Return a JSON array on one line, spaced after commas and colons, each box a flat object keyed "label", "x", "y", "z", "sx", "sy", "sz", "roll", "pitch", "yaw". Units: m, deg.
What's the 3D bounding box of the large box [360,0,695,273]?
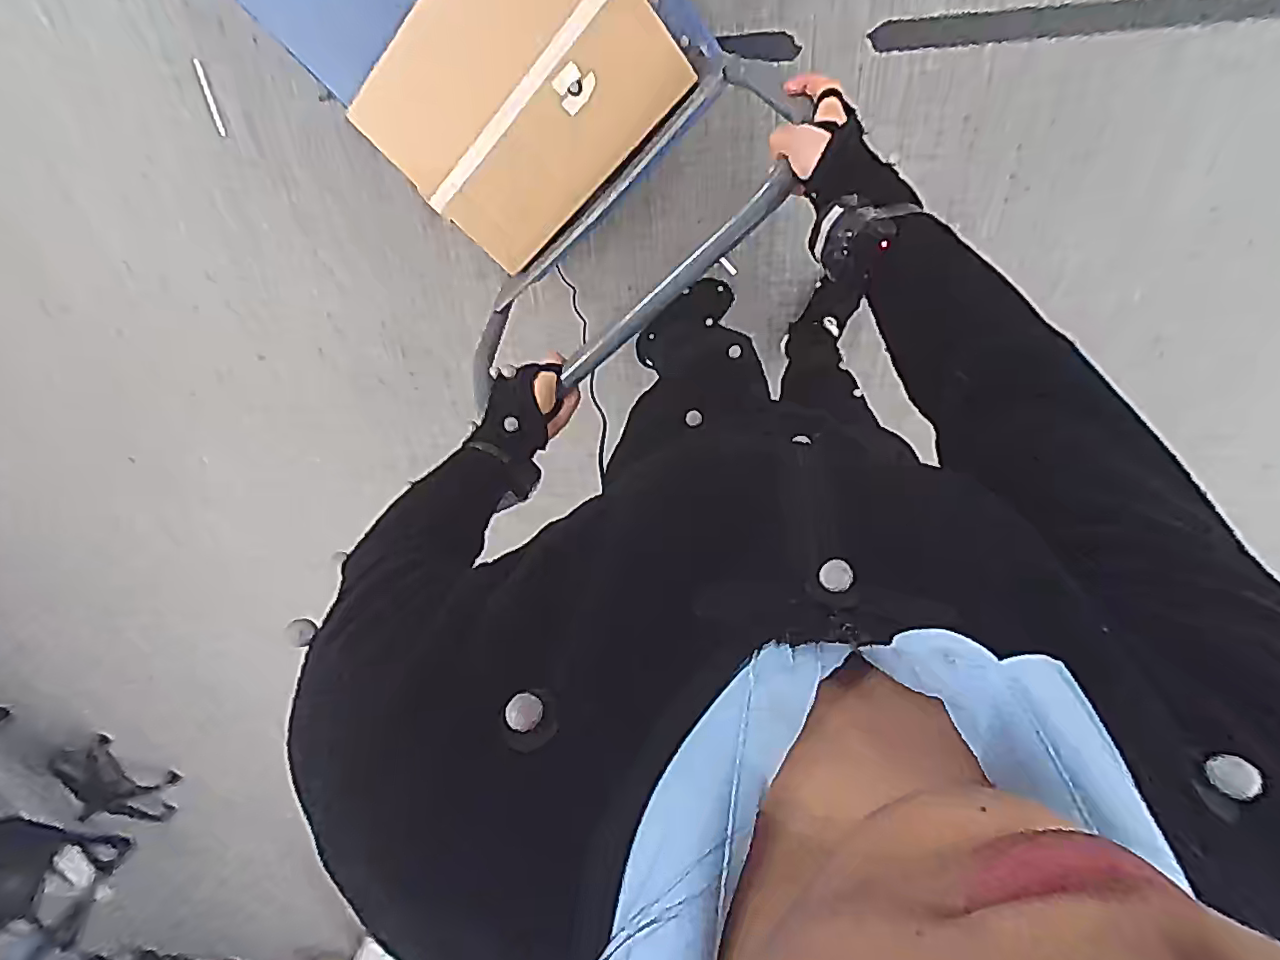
[{"label": "large box", "x": -0.169, "y": -0.633, "z": 0.894, "sx": 0.408, "sy": 0.320, "sz": 0.320, "roll": -38, "pitch": 119, "yaw": 23}]
